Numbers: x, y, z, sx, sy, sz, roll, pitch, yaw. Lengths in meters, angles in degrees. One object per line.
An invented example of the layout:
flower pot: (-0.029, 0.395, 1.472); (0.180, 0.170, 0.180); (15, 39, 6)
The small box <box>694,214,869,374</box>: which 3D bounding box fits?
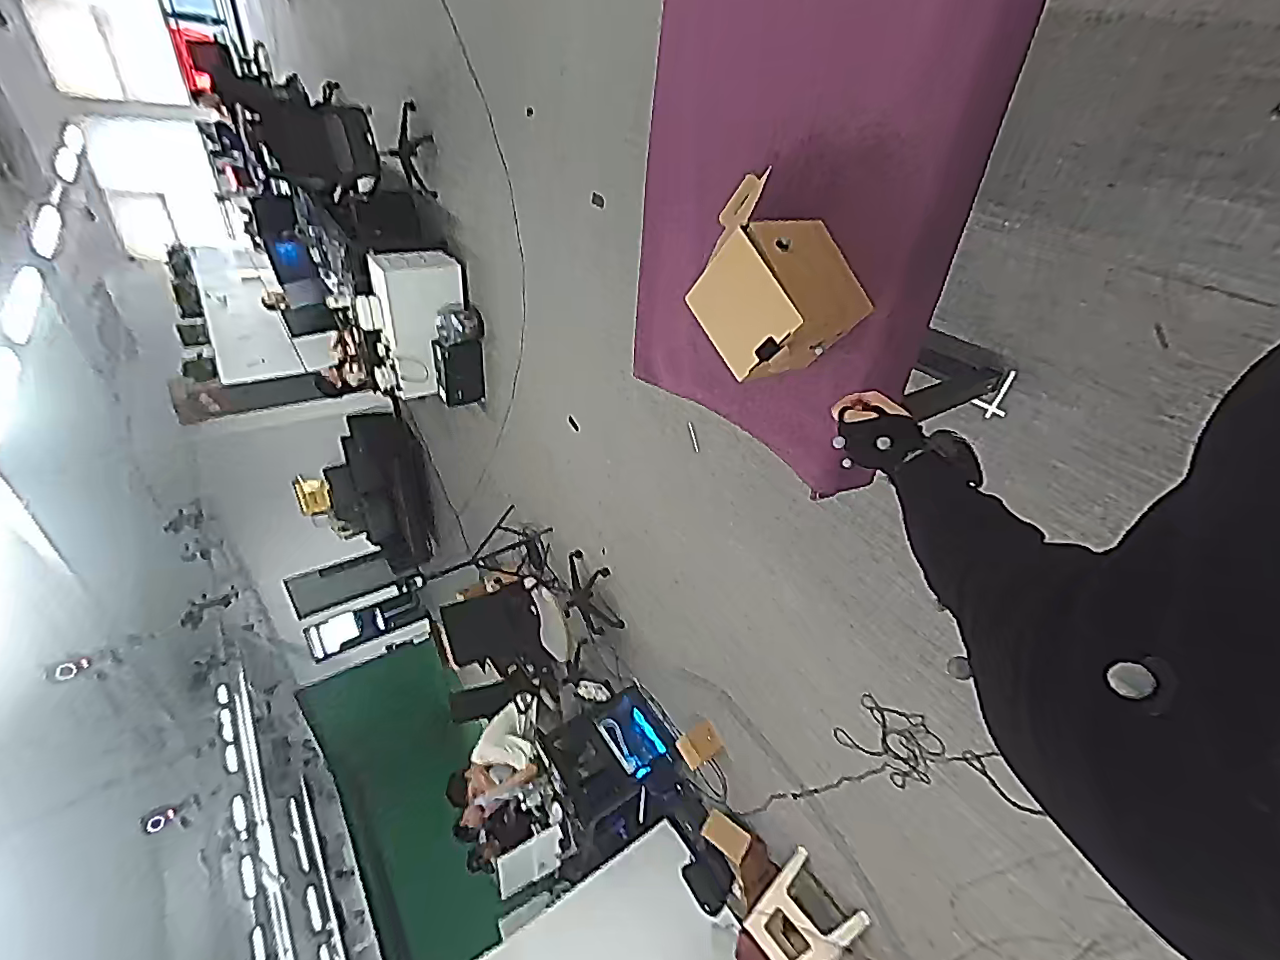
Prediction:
small box: (0.223, -0.296, 0.868); (0.179, 0.176, 0.168); (65, 149, 11)
